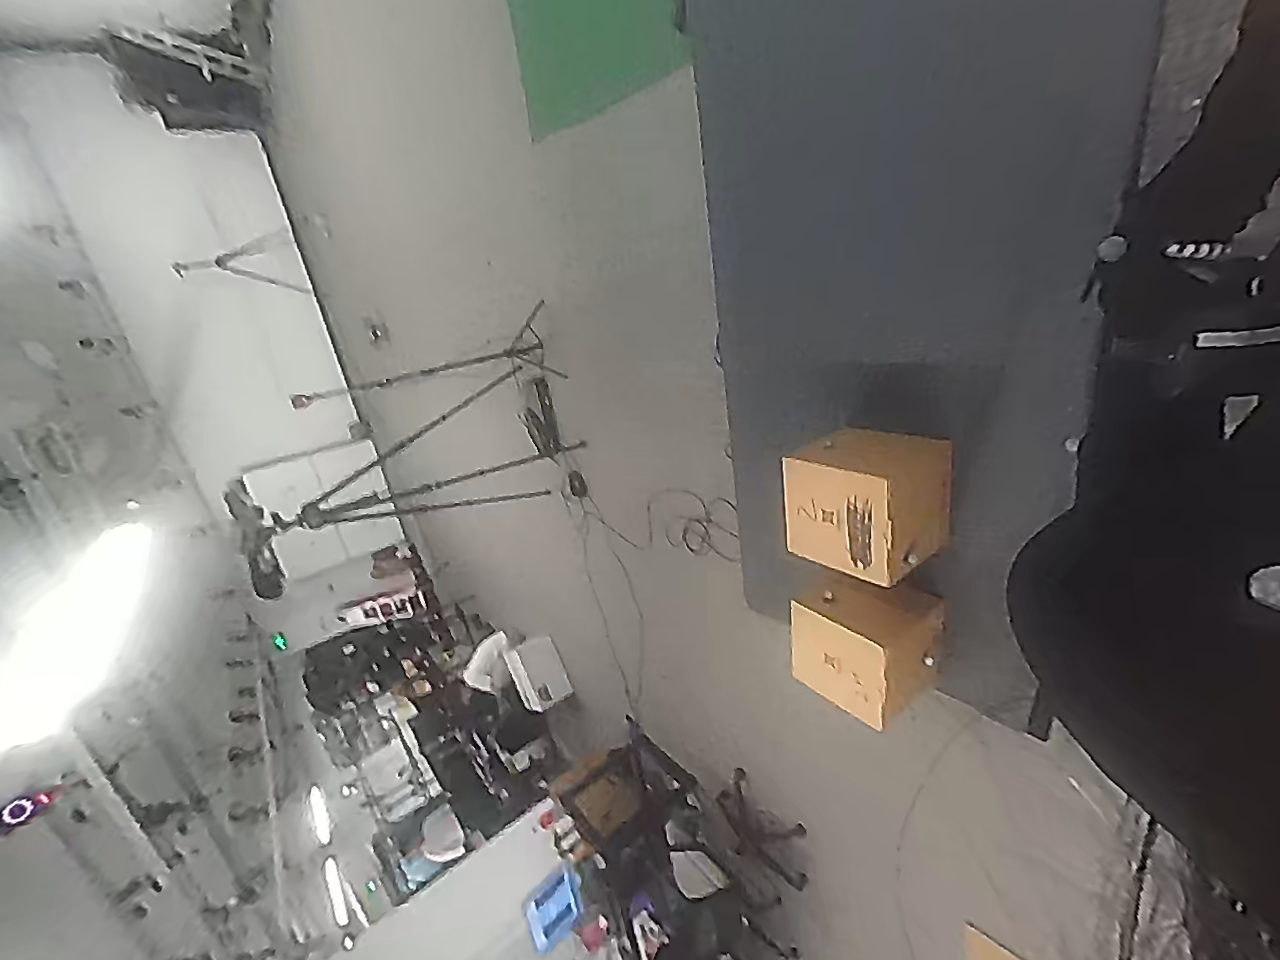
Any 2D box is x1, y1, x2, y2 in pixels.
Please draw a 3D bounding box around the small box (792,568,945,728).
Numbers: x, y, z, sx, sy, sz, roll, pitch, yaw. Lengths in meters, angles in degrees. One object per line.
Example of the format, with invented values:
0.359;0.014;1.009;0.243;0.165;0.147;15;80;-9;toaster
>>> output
0.380;0.269;0.916;0.179;0.176;0.168;22;126;51;small box
